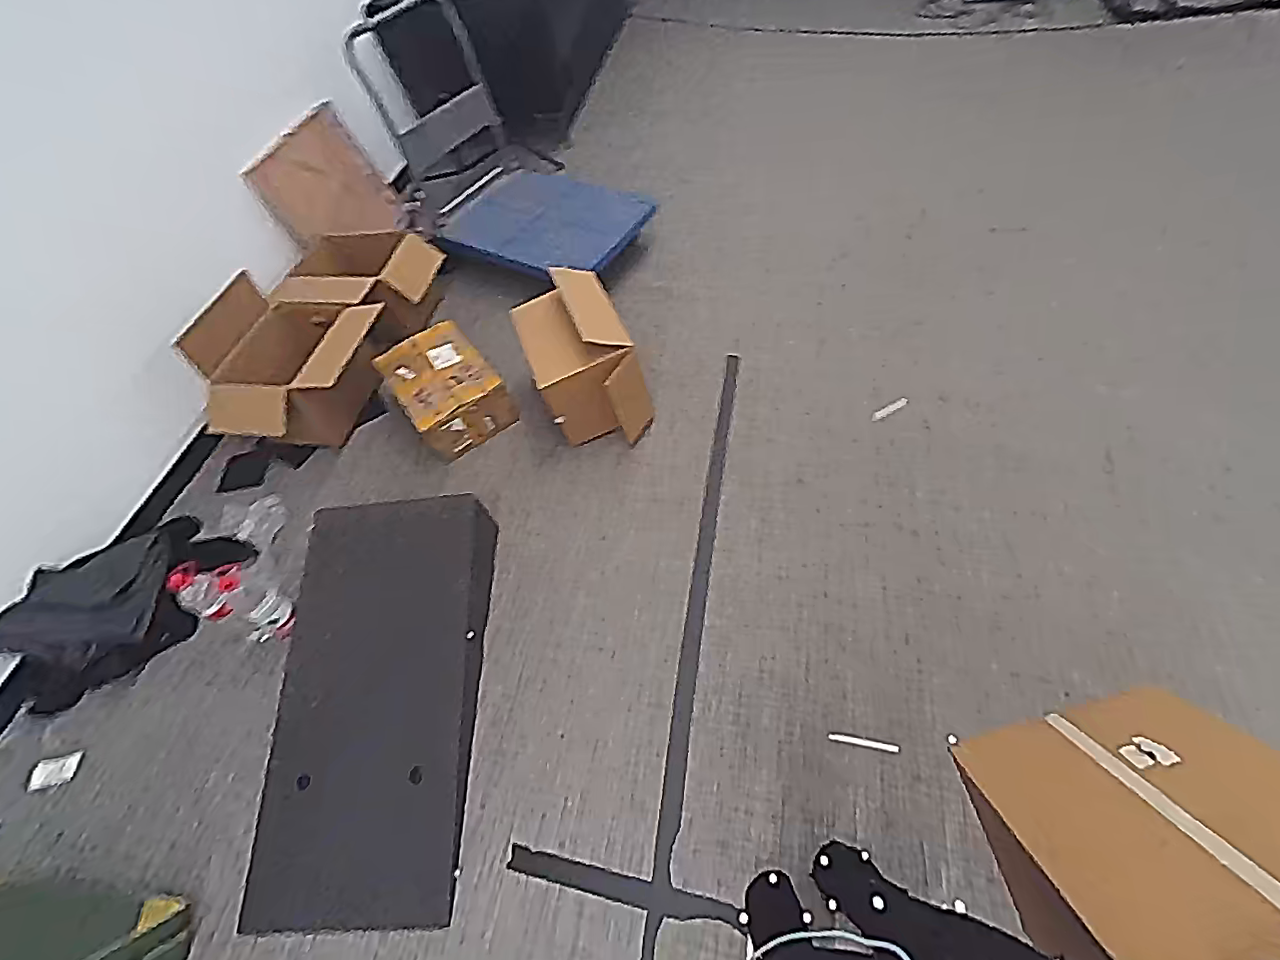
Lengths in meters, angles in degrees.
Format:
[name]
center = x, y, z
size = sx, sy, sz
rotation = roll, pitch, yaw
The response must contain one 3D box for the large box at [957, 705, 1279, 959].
[large box]
center = 0.668, 0.537, 0.633
size = 0.320, 0.408, 0.320
rotation = -21, 89, 8
